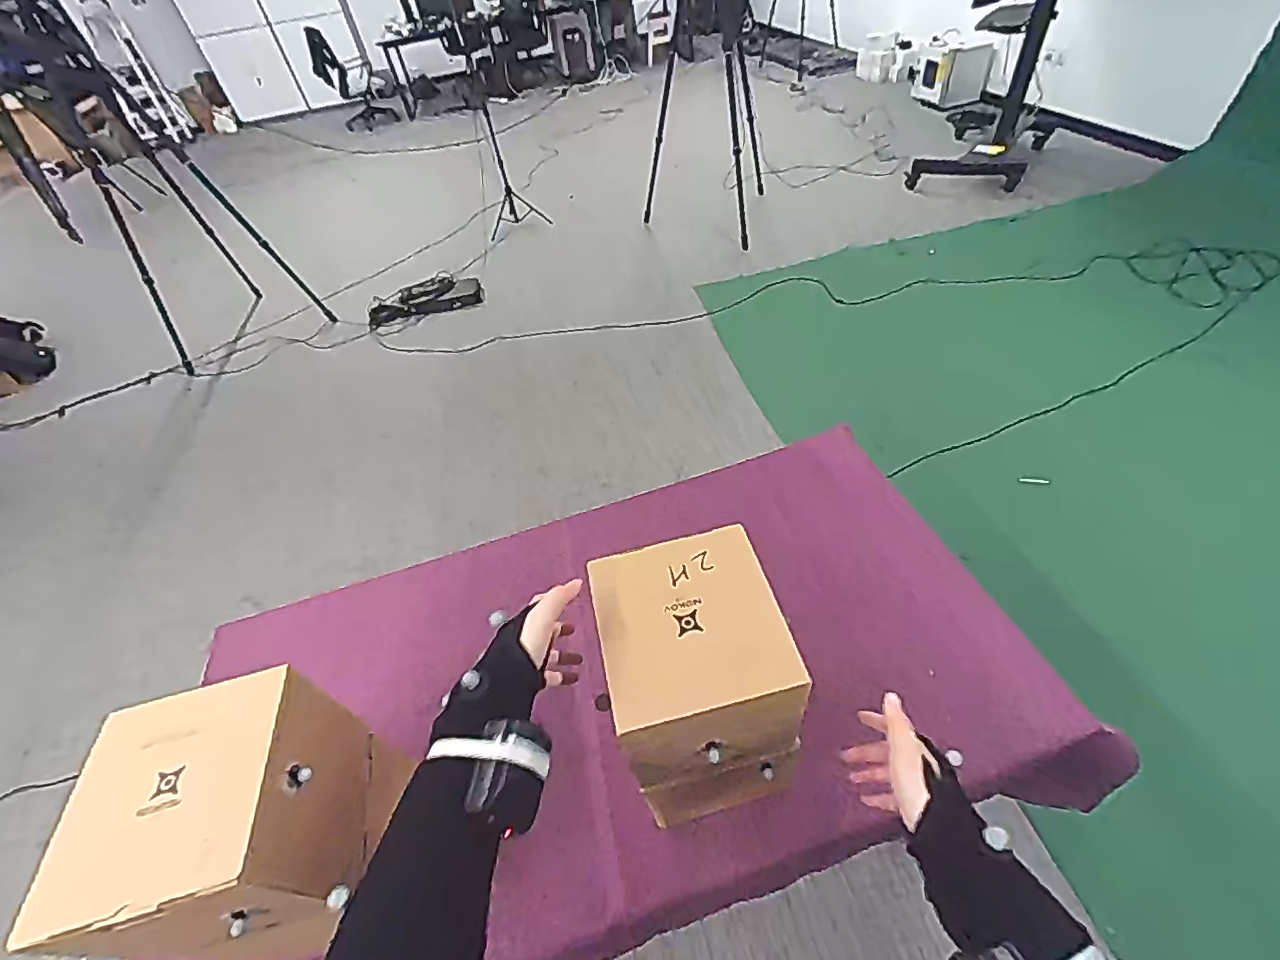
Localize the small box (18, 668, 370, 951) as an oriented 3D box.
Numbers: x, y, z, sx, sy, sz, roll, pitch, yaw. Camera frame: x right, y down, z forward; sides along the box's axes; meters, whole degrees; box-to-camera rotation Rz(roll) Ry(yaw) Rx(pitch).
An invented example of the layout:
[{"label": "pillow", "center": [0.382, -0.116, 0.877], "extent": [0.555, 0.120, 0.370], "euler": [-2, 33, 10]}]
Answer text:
[{"label": "small box", "center": [-0.380, 0.311, 0.509], "extent": [0.168, 0.176, 0.179], "euler": [-15, 46, -4]}]

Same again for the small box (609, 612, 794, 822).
[{"label": "small box", "center": [0.074, 0.295, 0.667], "extent": [0.179, 0.176, 0.168], "euler": [-15, 47, -4]}]

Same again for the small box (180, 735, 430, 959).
[{"label": "small box", "center": [-0.358, 0.426, 0.624], "extent": [0.179, 0.176, 0.168], "euler": [-16, 46, -5]}]
